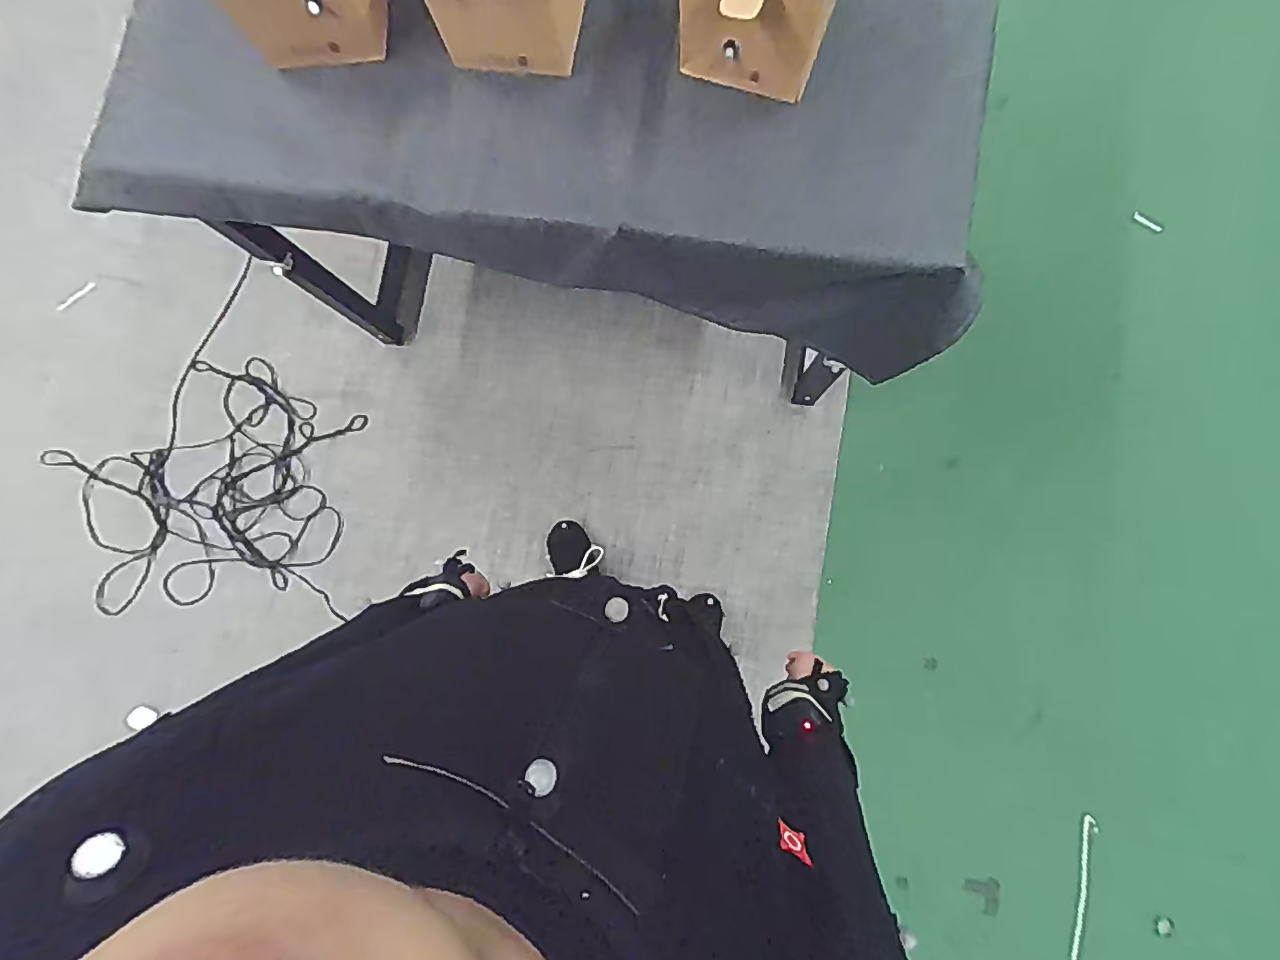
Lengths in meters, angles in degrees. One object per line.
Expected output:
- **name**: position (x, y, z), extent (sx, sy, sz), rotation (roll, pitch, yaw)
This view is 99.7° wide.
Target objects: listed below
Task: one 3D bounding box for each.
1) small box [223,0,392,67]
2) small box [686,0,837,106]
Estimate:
- **small box**: position (-0.441, -0.676, 0.700), extent (0.168, 0.176, 0.179), rotation (-2, 81, 2)
- **small box**: position (0.156, -0.606, 0.647), extent (0.168, 0.176, 0.179), rotation (20, 85, 6)
